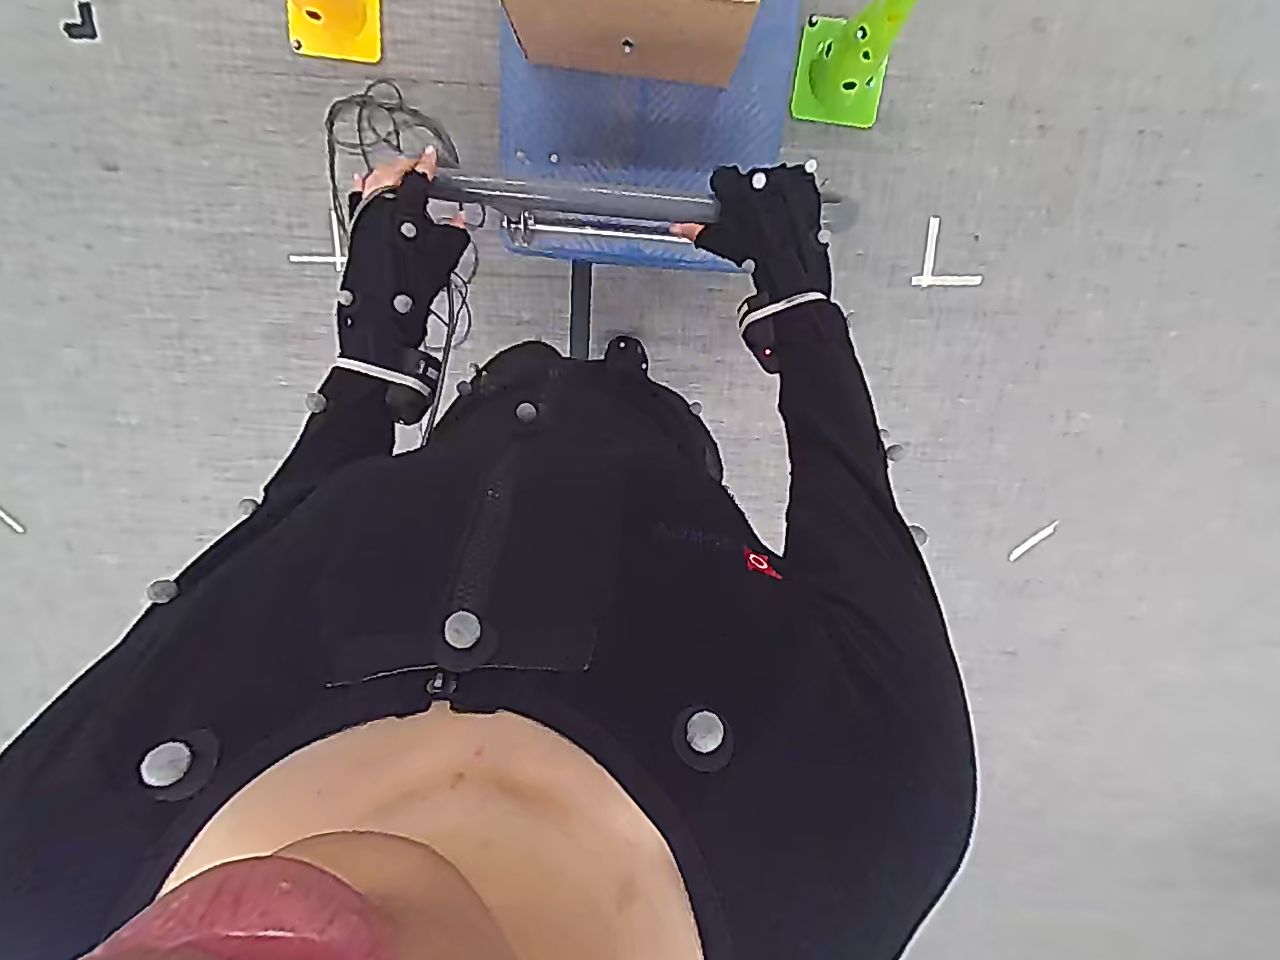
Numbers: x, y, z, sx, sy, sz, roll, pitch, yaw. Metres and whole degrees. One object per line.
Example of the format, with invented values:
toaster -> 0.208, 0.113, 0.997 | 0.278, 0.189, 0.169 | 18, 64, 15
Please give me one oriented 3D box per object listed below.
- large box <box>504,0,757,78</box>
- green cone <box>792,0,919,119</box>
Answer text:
large box -> -0.007, -0.916, 0.895 | 0.408, 0.320, 0.320 | 5, 107, -1
green cone -> 0.459, -0.891, 1.055 | 0.202, 0.368, 0.200 | 6, 106, -4
